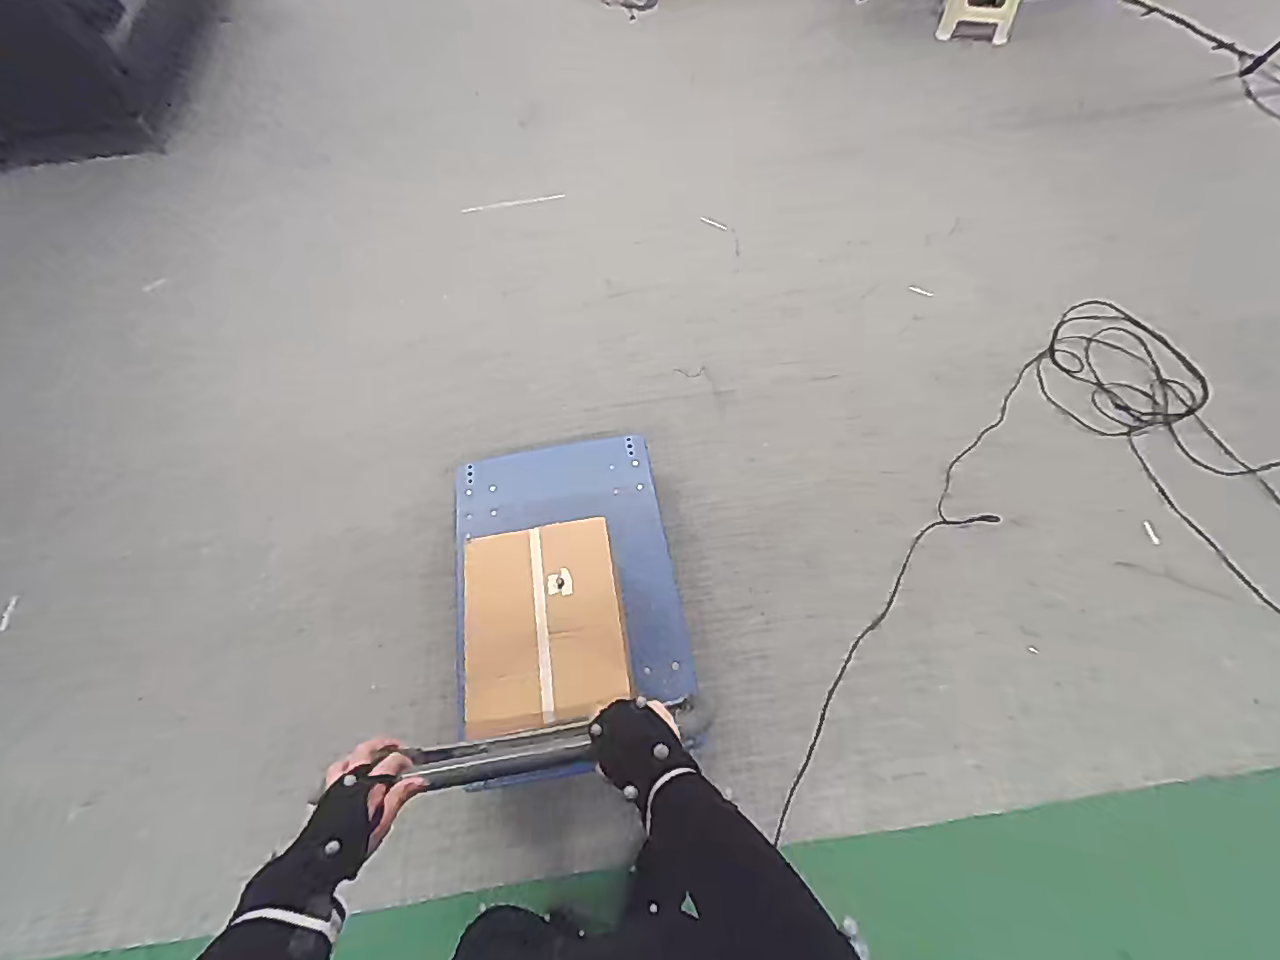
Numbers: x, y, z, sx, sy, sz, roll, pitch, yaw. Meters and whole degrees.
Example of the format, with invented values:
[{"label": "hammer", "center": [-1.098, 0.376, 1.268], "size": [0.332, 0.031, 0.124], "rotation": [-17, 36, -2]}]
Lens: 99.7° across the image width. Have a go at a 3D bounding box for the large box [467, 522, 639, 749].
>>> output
[{"label": "large box", "center": [-0.192, 0.361, 1.235], "size": [0.320, 0.320, 0.408], "rotation": [-9, 60, -3]}]
